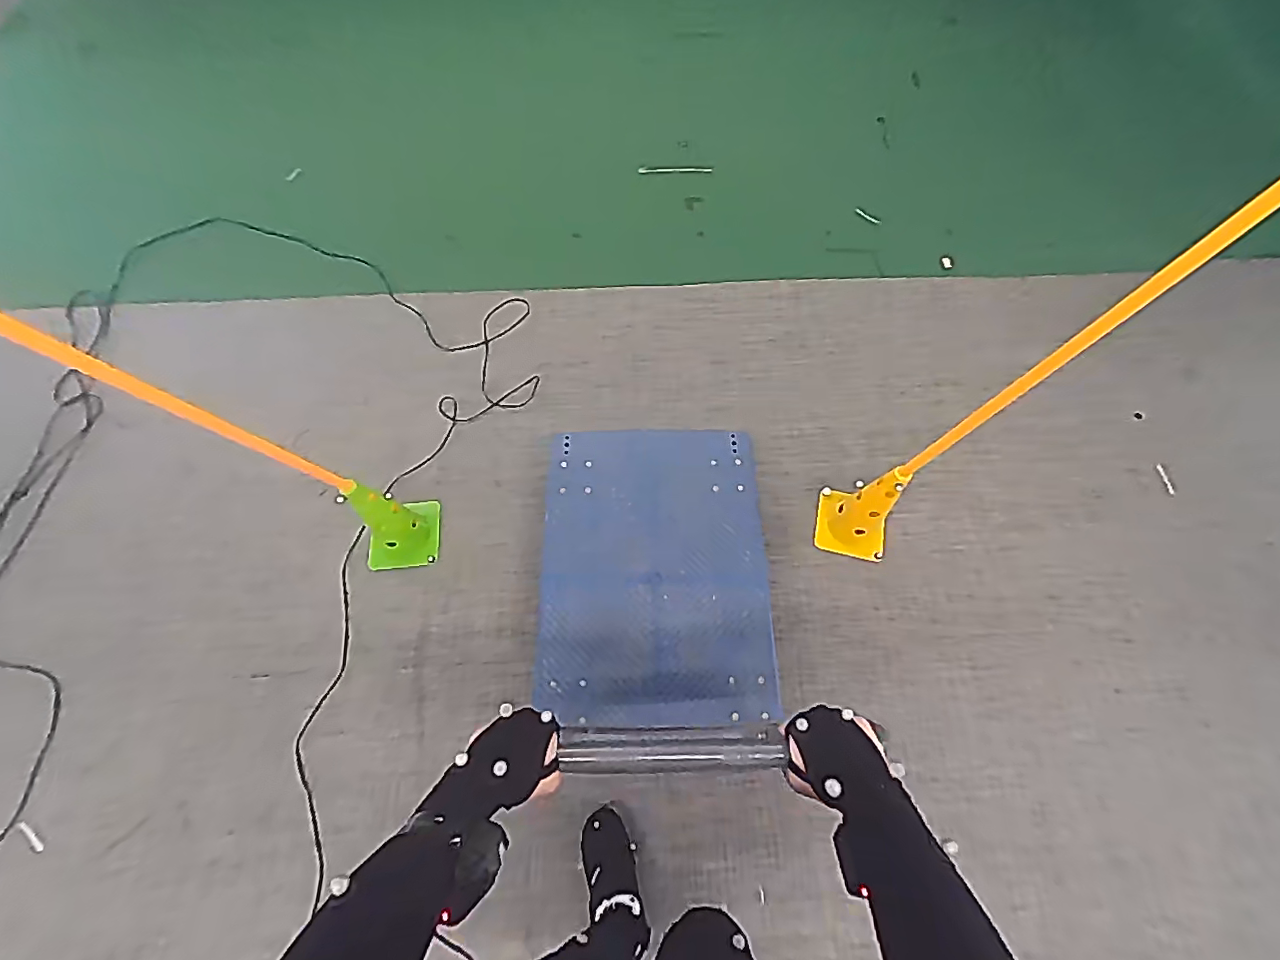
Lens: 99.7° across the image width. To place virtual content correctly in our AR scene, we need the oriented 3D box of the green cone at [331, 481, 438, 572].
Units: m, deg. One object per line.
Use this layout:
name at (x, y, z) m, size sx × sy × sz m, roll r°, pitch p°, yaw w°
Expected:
green cone at (-0.705, 0.092, 1.443) m, size 0.202 × 0.368 × 0.200 m, roll -7°, pitch 65°, yaw -2°
